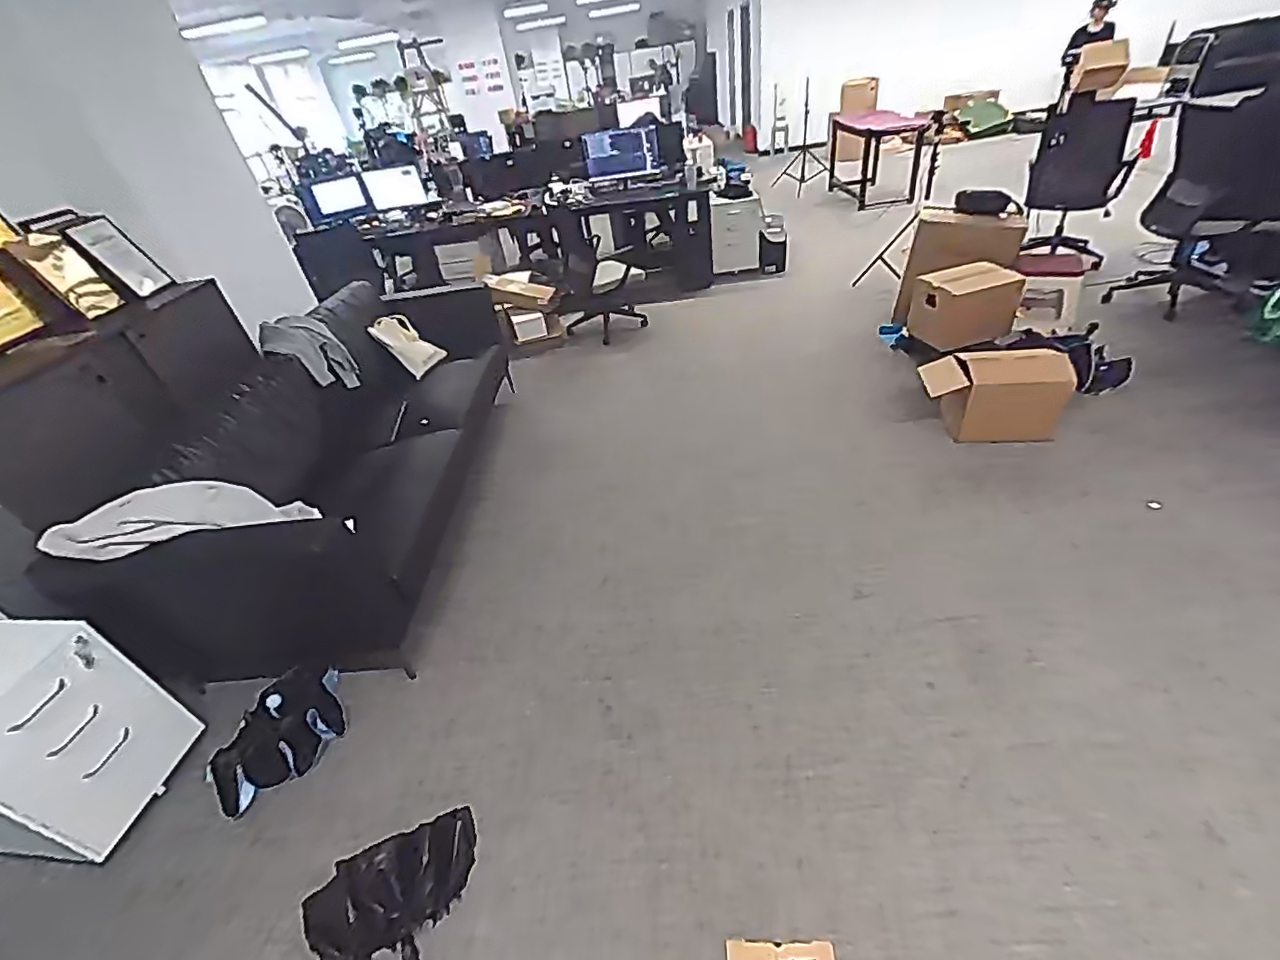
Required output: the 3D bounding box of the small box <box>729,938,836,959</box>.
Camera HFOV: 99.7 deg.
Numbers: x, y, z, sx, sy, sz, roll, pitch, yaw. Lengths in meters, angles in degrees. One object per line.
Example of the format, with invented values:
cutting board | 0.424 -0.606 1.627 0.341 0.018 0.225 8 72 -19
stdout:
small box | 0.226 0.842 0.835 0.168 0.176 0.179 -5 39 5
